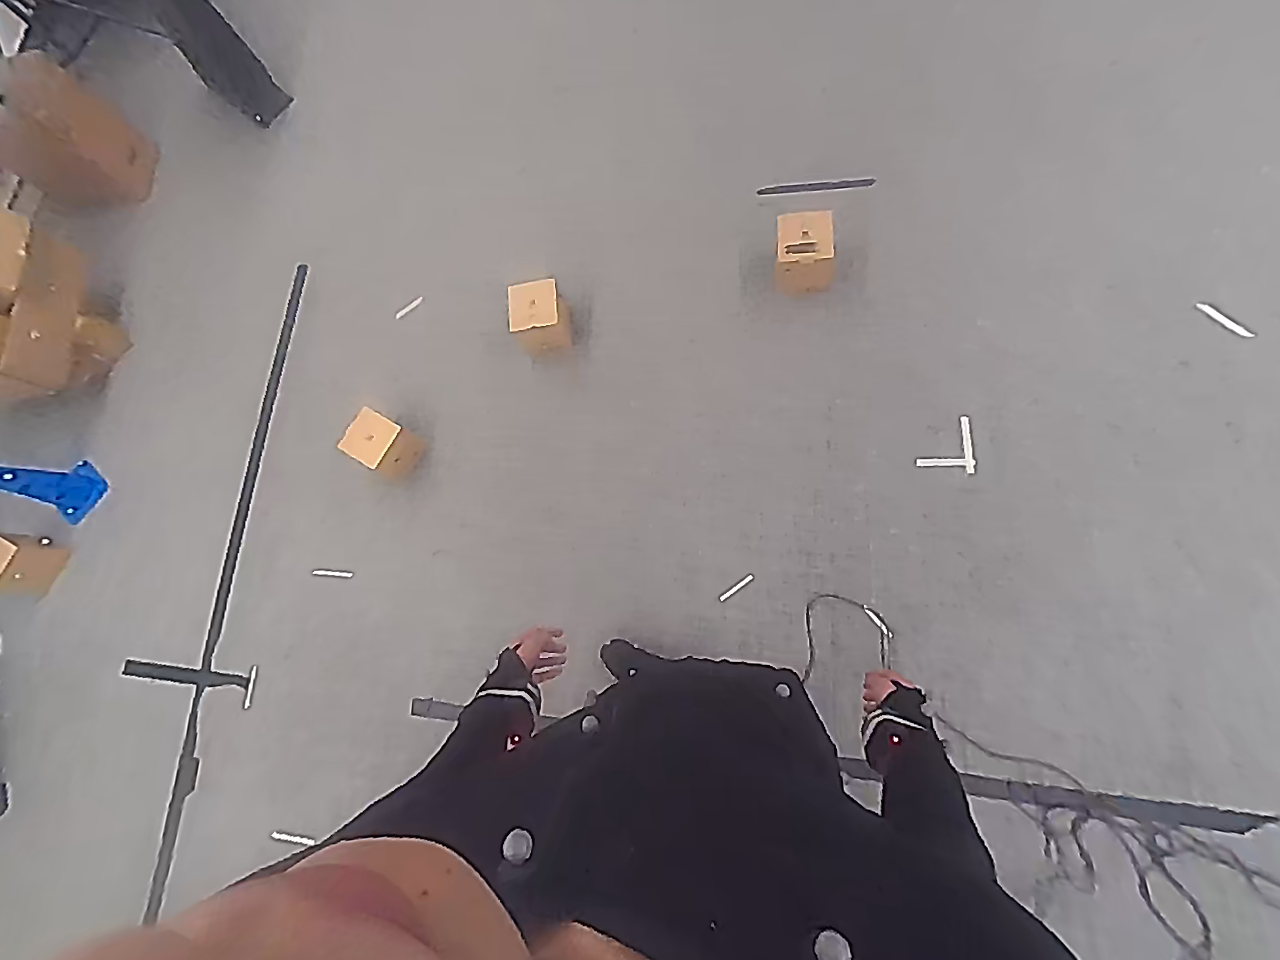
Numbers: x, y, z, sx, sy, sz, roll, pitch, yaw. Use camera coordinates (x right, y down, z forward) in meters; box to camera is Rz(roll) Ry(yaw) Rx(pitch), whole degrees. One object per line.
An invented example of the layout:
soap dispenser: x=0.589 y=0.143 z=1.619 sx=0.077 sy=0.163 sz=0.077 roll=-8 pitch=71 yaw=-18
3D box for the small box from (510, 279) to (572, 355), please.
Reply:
small box: x=-0.336 y=-0.554 z=1.850 sx=0.168 sy=0.176 sz=0.179 roll=-8 pitch=75 yaw=8

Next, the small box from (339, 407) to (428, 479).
small box: x=-0.863 y=-0.117 z=1.839 sx=0.179 sy=0.176 sz=0.168 roll=28 pitch=83 yaw=16
